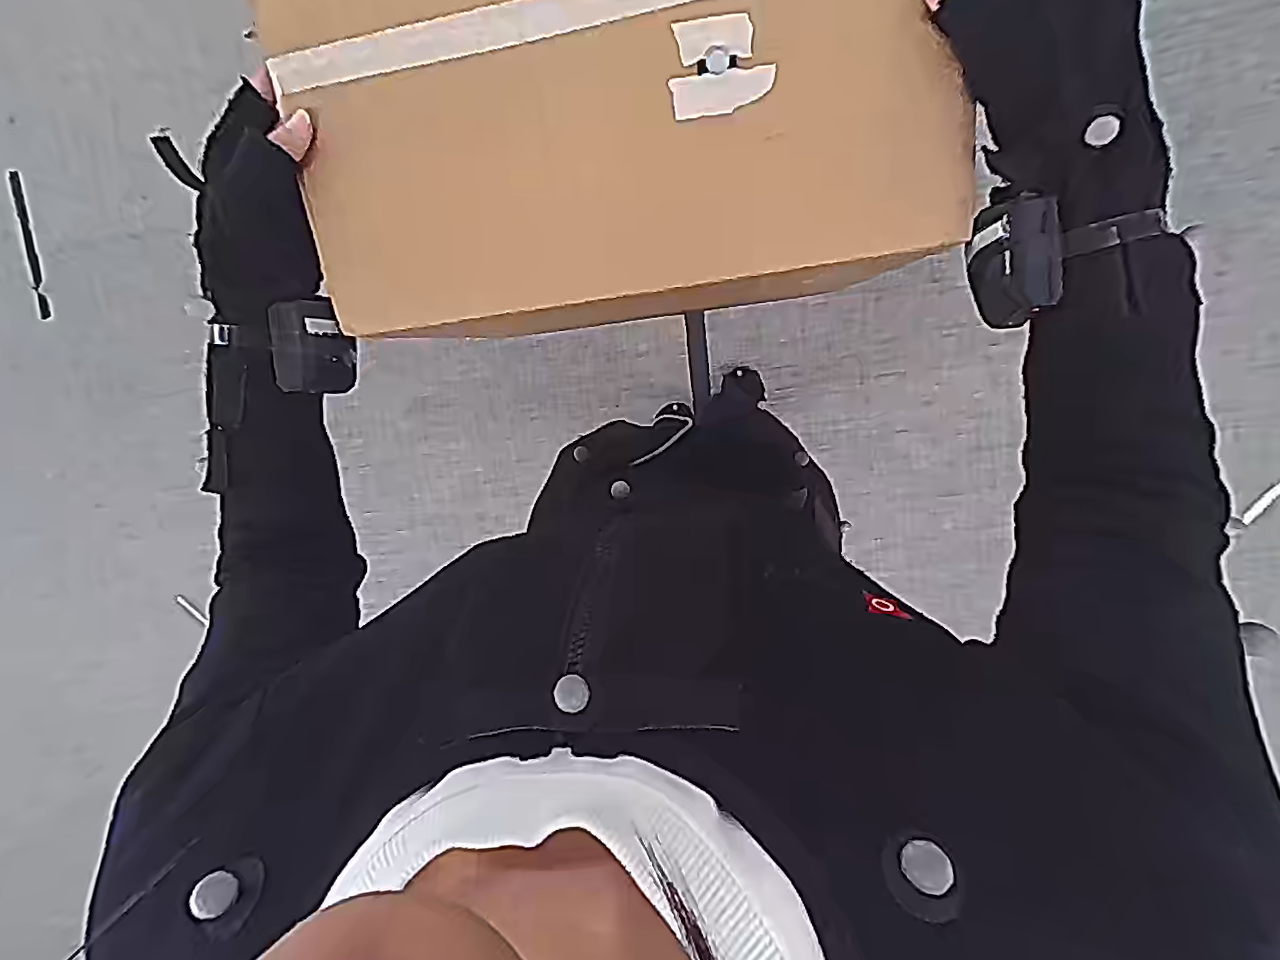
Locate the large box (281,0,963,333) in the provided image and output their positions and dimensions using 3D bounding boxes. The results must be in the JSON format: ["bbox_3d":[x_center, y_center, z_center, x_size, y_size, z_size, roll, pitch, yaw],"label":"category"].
[{"bbox_3d":[-0.009,-0.315,0.462,0.408,0.320,0.320,-7,104,7],"label":"large box"}]
